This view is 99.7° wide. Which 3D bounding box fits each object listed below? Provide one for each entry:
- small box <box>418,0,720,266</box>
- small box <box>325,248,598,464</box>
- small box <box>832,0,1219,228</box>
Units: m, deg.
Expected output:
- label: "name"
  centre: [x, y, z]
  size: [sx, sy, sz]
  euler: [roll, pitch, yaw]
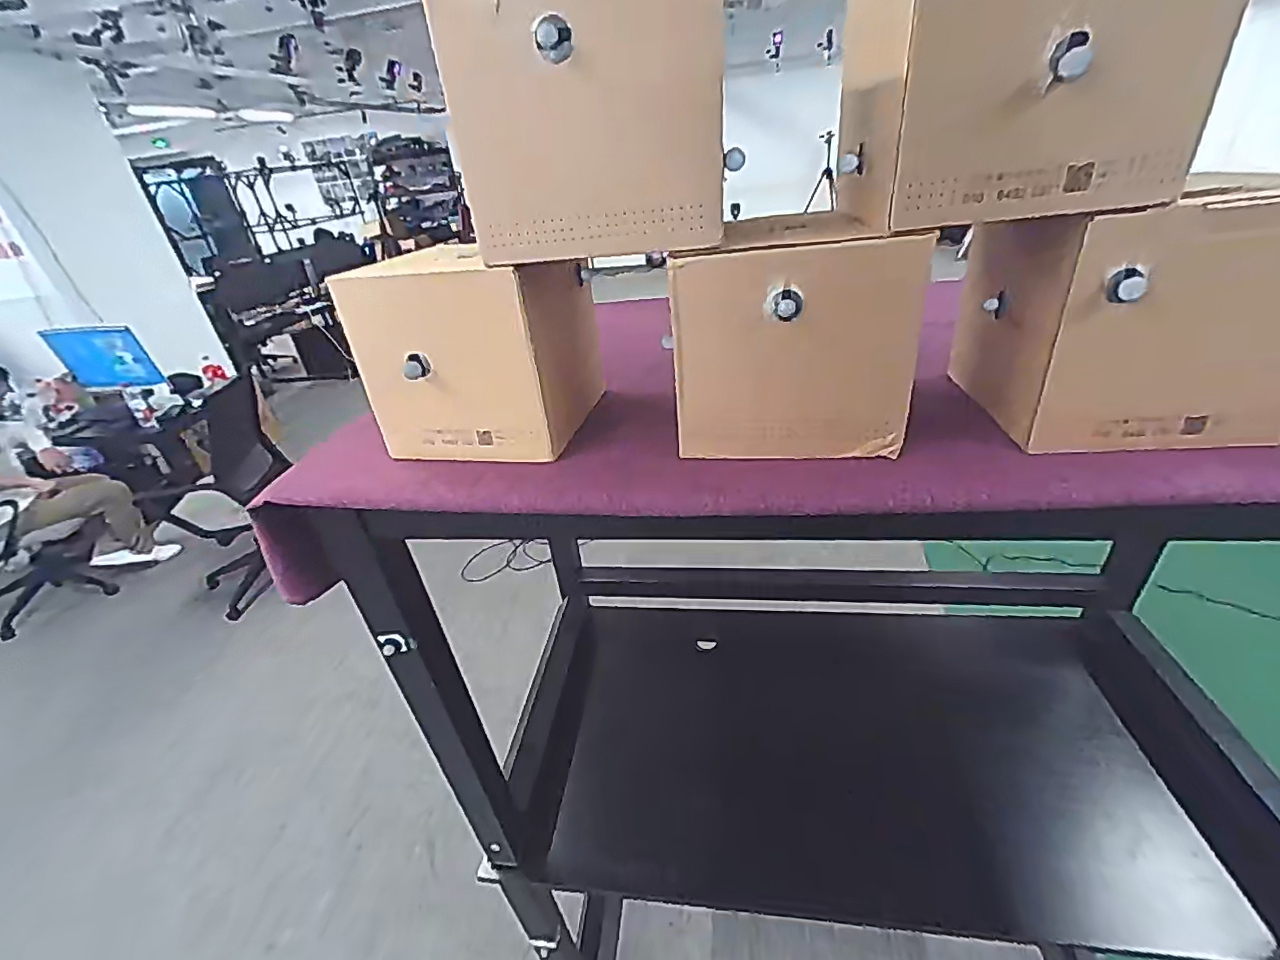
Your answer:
- label: "small box"
  centre: [-0.032, -0.265, 0.407]
  size: [0.179, 0.176, 0.168]
  euler: [-1, 31, 9]
- label: "small box"
  centre: [-0.147, -0.124, 0.520]
  size: [0.168, 0.176, 0.179]
  euler: [1, 30, 14]
- label: "small box"
  centre: [0.231, -0.273, 0.361]
  size: [0.168, 0.176, 0.179]
  euler: [-3, 31, 8]
